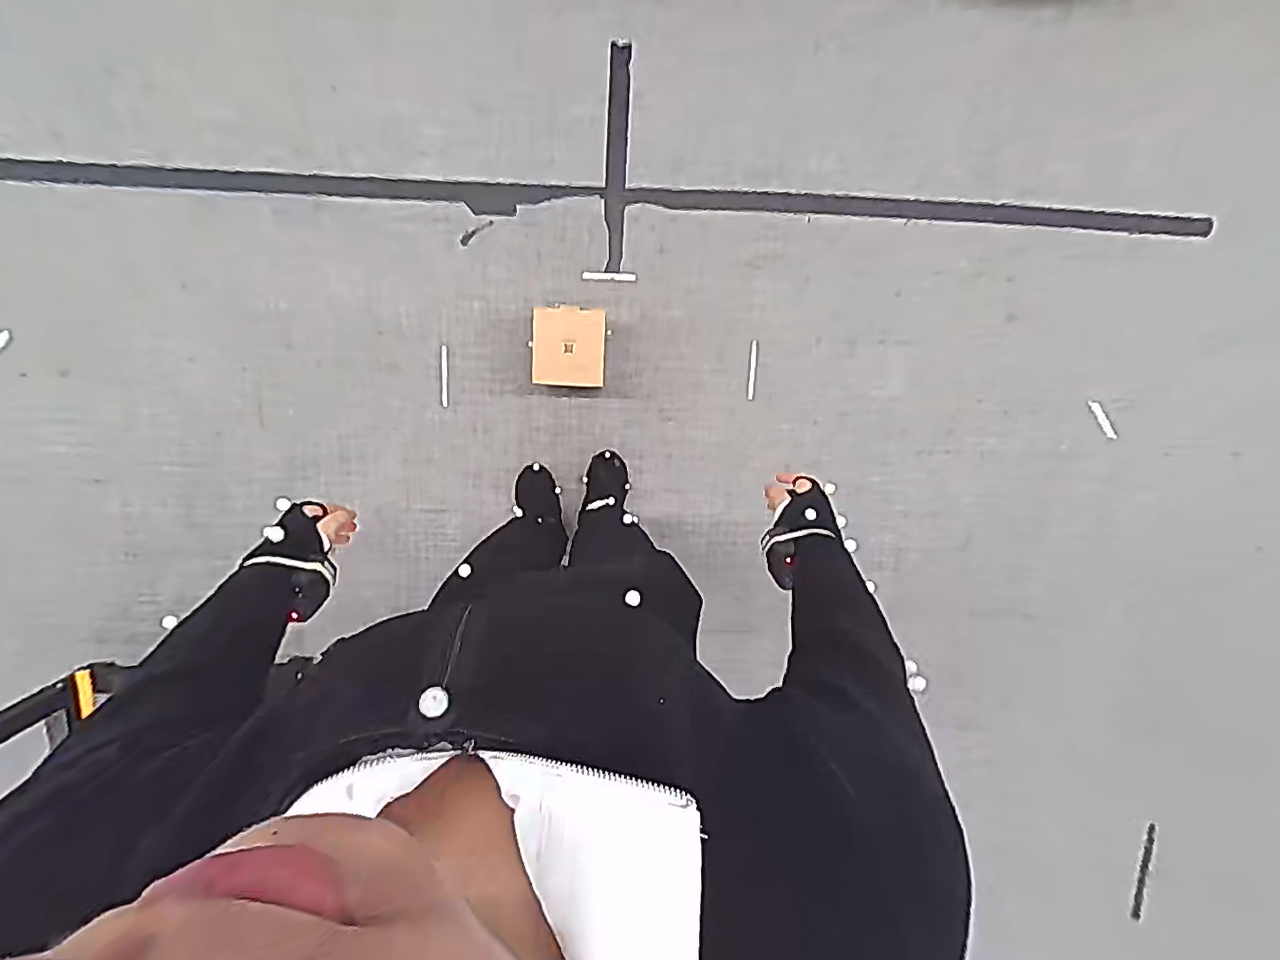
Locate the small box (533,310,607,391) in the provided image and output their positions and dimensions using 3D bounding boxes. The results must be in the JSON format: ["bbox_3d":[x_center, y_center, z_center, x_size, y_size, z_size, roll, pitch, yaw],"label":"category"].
[{"bbox_3d":[-0.167,-0.310,1.319,0.168,0.176,0.179,2,100,-3],"label":"small box"}]
